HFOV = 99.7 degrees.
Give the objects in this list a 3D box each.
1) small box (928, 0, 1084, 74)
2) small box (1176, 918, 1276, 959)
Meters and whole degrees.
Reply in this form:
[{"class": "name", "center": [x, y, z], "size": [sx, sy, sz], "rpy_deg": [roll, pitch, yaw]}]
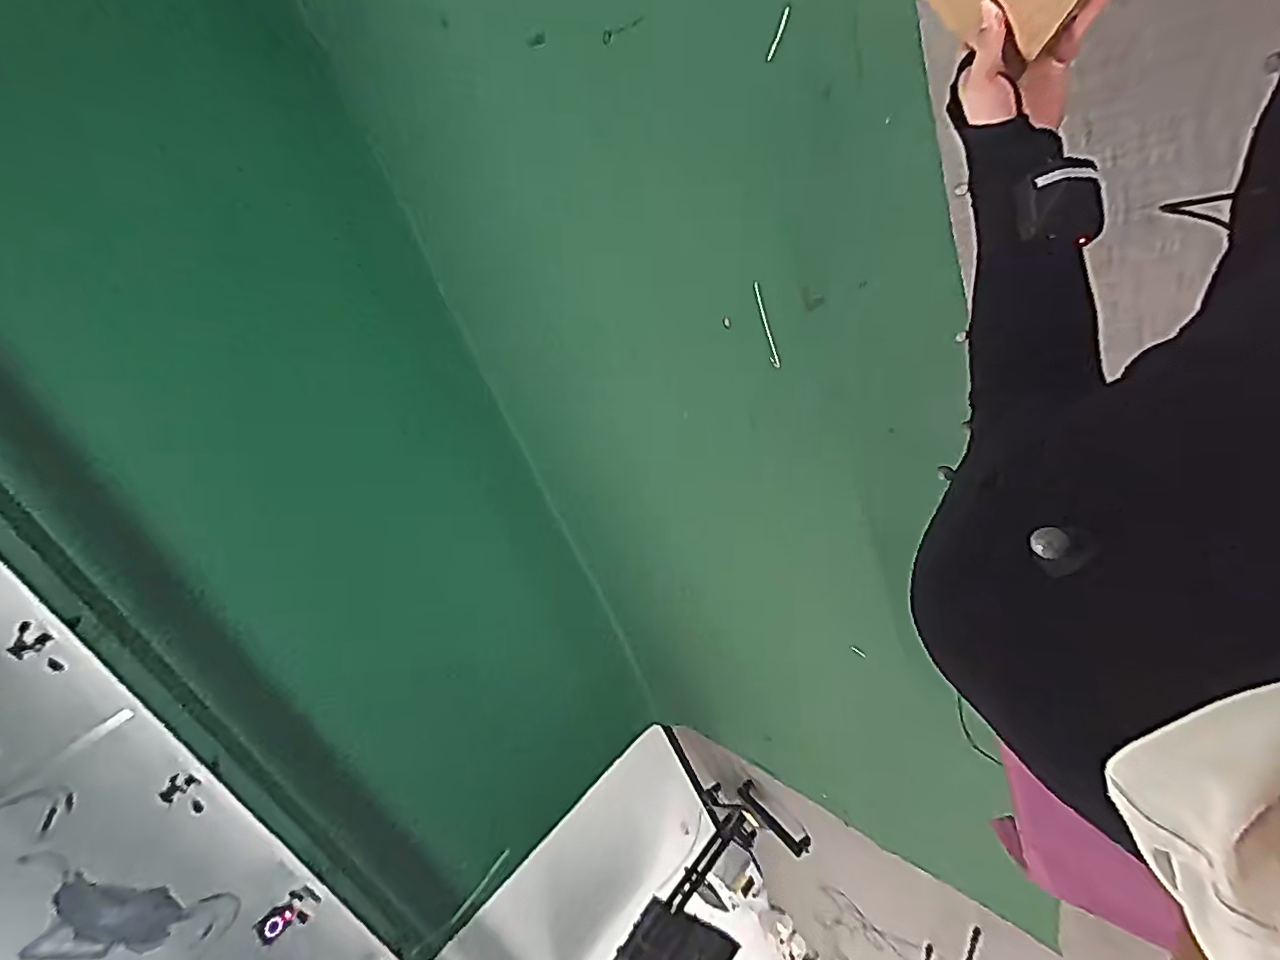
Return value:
[{"class": "small box", "center": [0.329, -0.482, 0.409], "size": [0.168, 0.176, 0.179], "rpy_deg": [48, -170, 5]}, {"class": "small box", "center": [0.926, 0.831, 0.818], "size": [0.168, 0.176, 0.179], "rpy_deg": [4, 123, 53]}]
